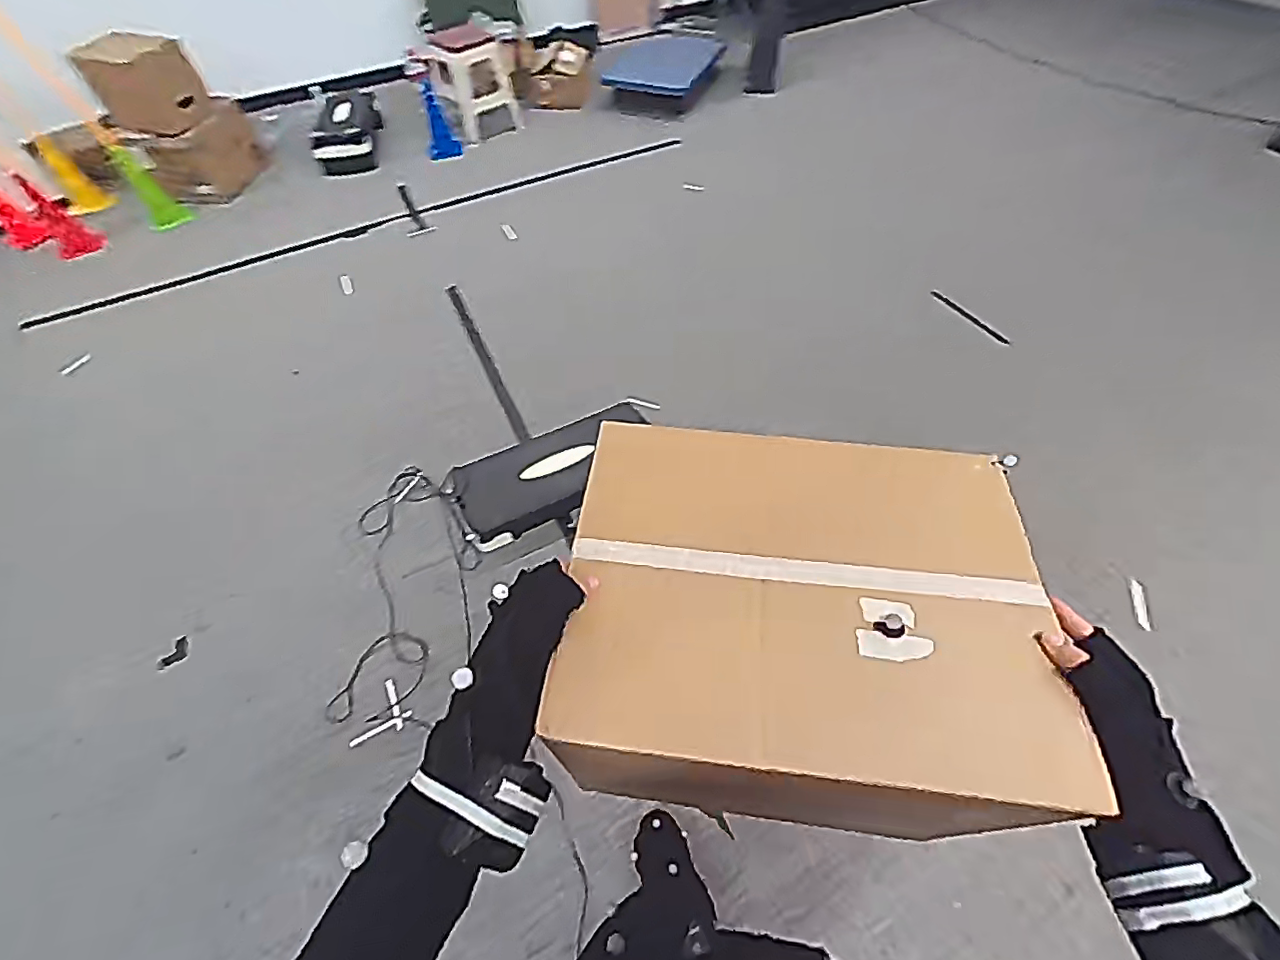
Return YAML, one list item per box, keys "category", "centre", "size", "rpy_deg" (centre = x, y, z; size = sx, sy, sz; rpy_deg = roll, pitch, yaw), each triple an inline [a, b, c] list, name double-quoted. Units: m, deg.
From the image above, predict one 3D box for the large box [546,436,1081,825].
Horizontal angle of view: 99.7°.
- category: "large box"
  centre: [0.137, 0.175, 0.608]
  size: [0.408, 0.320, 0.320]
  rpy_deg: [5, 54, 4]
